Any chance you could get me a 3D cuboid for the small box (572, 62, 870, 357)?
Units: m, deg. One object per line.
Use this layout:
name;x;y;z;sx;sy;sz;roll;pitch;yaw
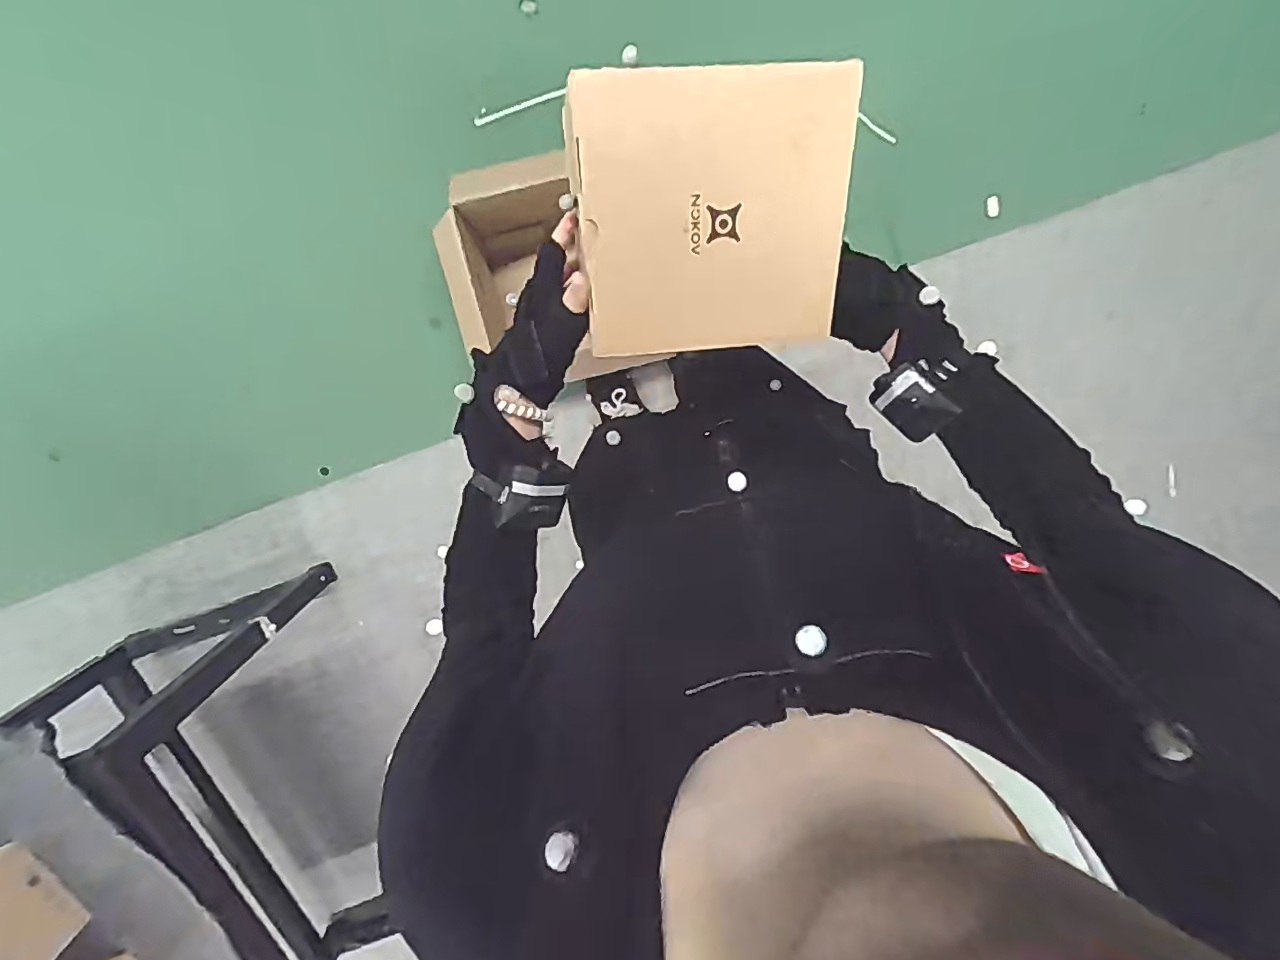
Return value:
small box;0.044;-0.204;0.417;0.179;0.176;0.168;-6;119;-4
